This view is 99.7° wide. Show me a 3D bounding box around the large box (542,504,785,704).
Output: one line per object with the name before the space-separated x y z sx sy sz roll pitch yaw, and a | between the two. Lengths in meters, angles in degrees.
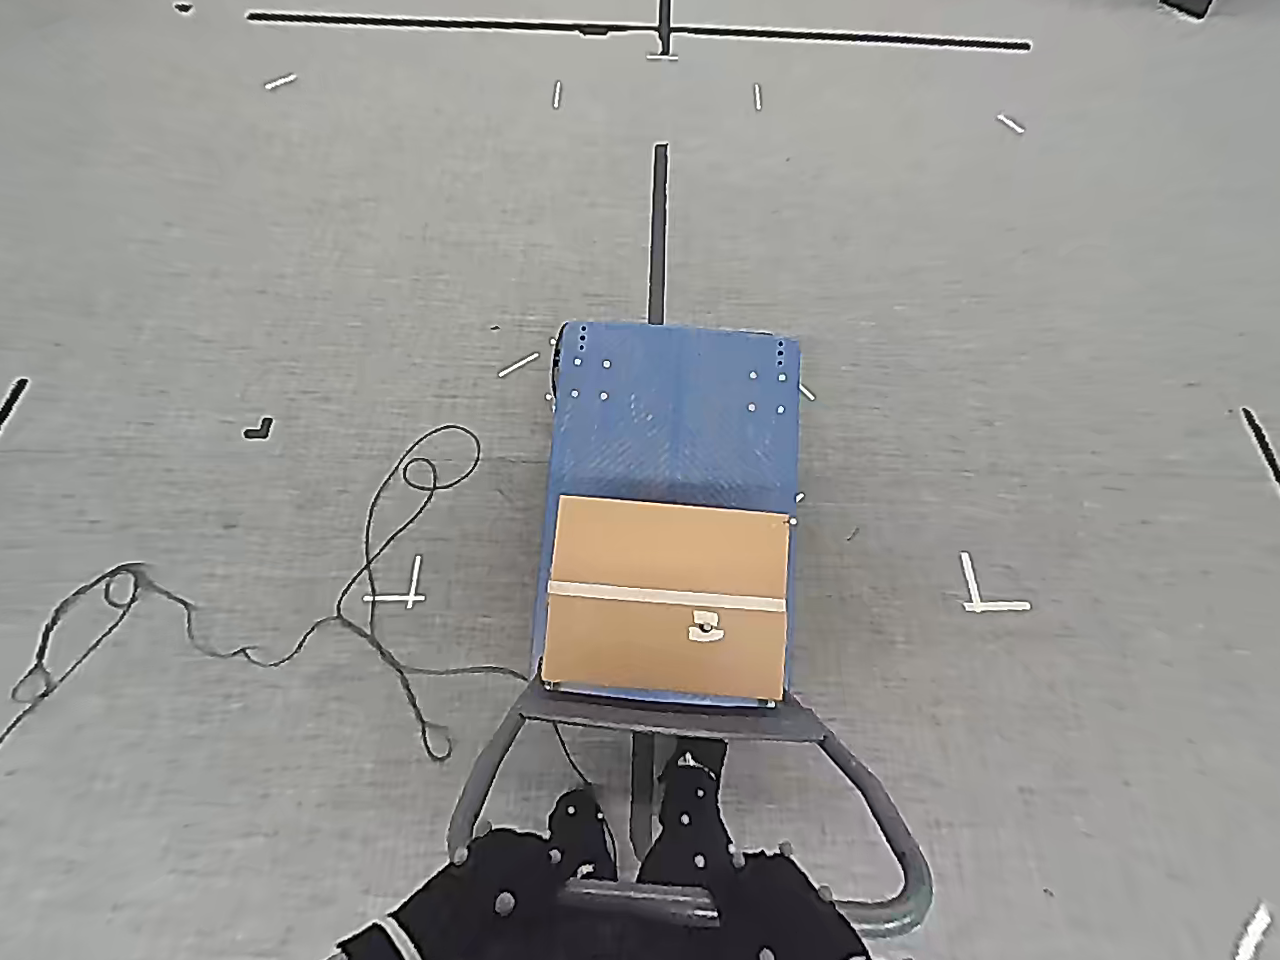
large box | 0.039 0.230 1.060 0.408 0.320 0.320 5 82 -1
